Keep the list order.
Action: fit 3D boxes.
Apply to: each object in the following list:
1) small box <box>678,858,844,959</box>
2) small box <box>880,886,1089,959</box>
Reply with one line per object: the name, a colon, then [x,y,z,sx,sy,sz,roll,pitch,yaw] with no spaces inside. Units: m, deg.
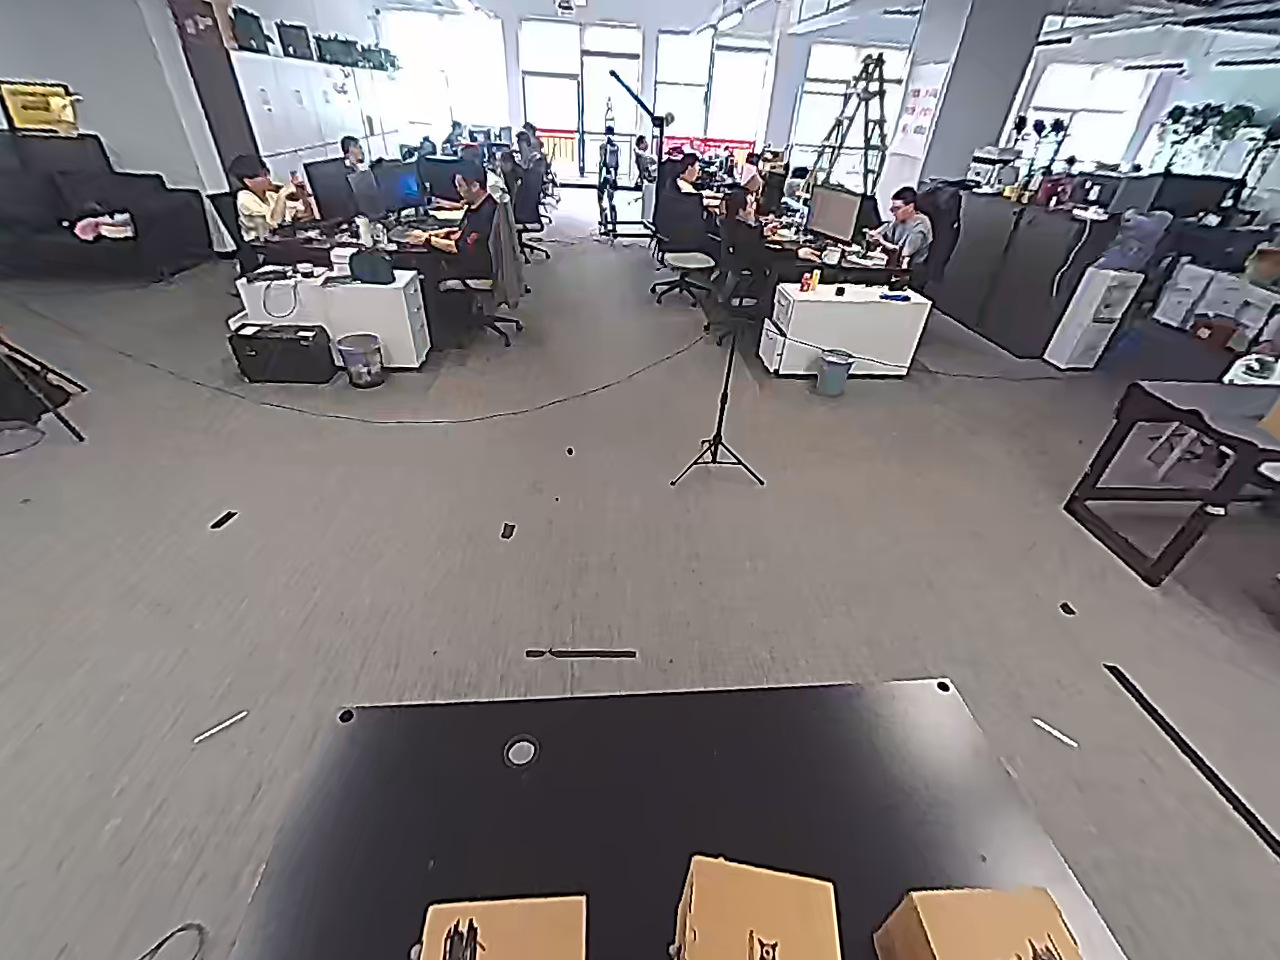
small box: [0.136,0.593,0.646,0.179,0.176,0.168,6,34,6]
small box: [0.417,0.609,0.637,0.179,0.176,0.168,0,34,-3]
